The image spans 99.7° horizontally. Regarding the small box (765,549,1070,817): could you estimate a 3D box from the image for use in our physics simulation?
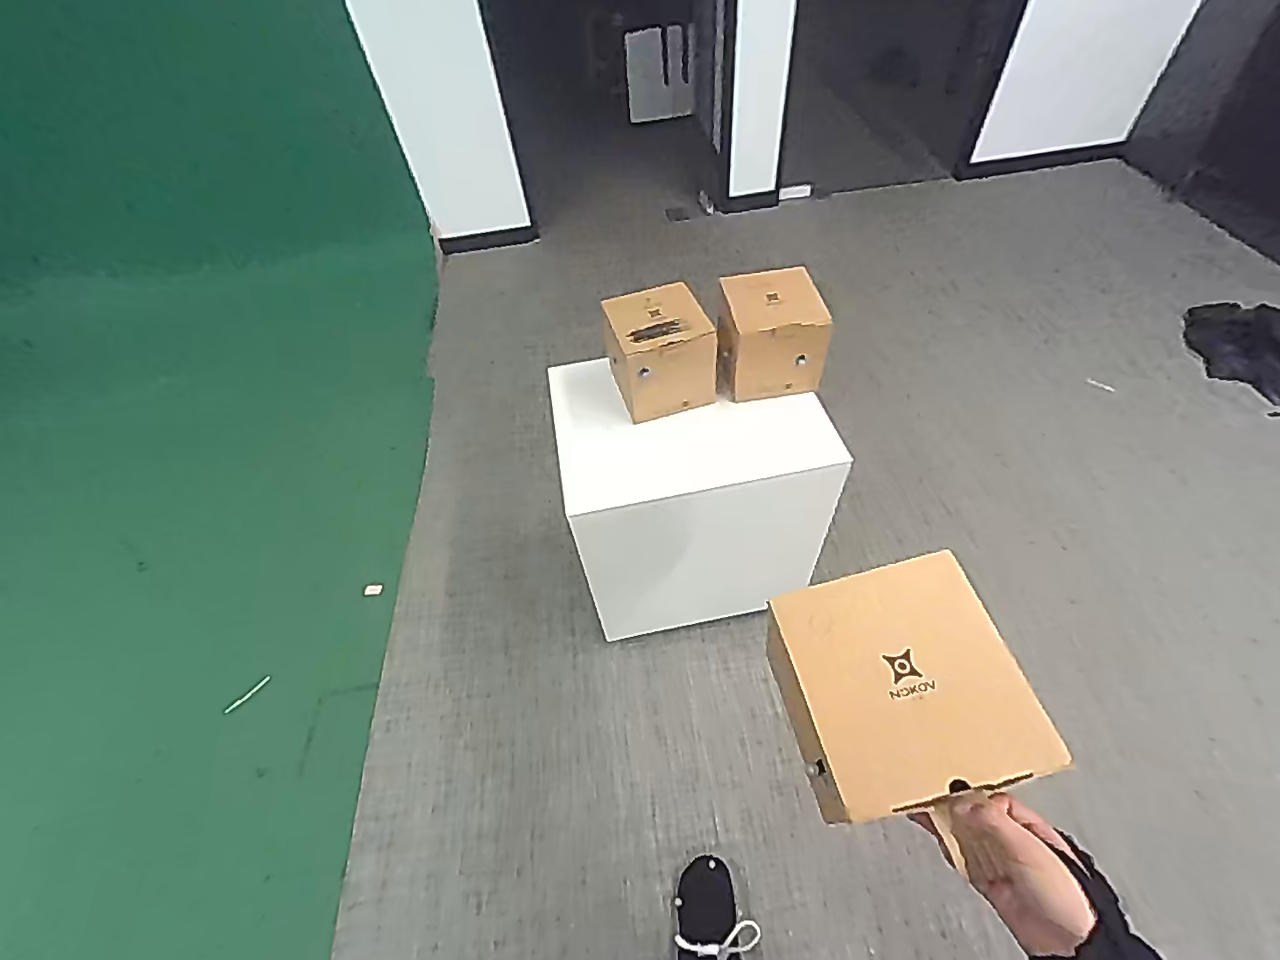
[{"bbox_3d":[0.221,0.192,0.495,0.168,0.176,0.179,-15,57,1],"label":"small box"}]

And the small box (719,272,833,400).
[{"bbox_3d":[0.250,-0.267,1.035,0.168,0.176,0.179,-8,51,-1],"label":"small box"}]
